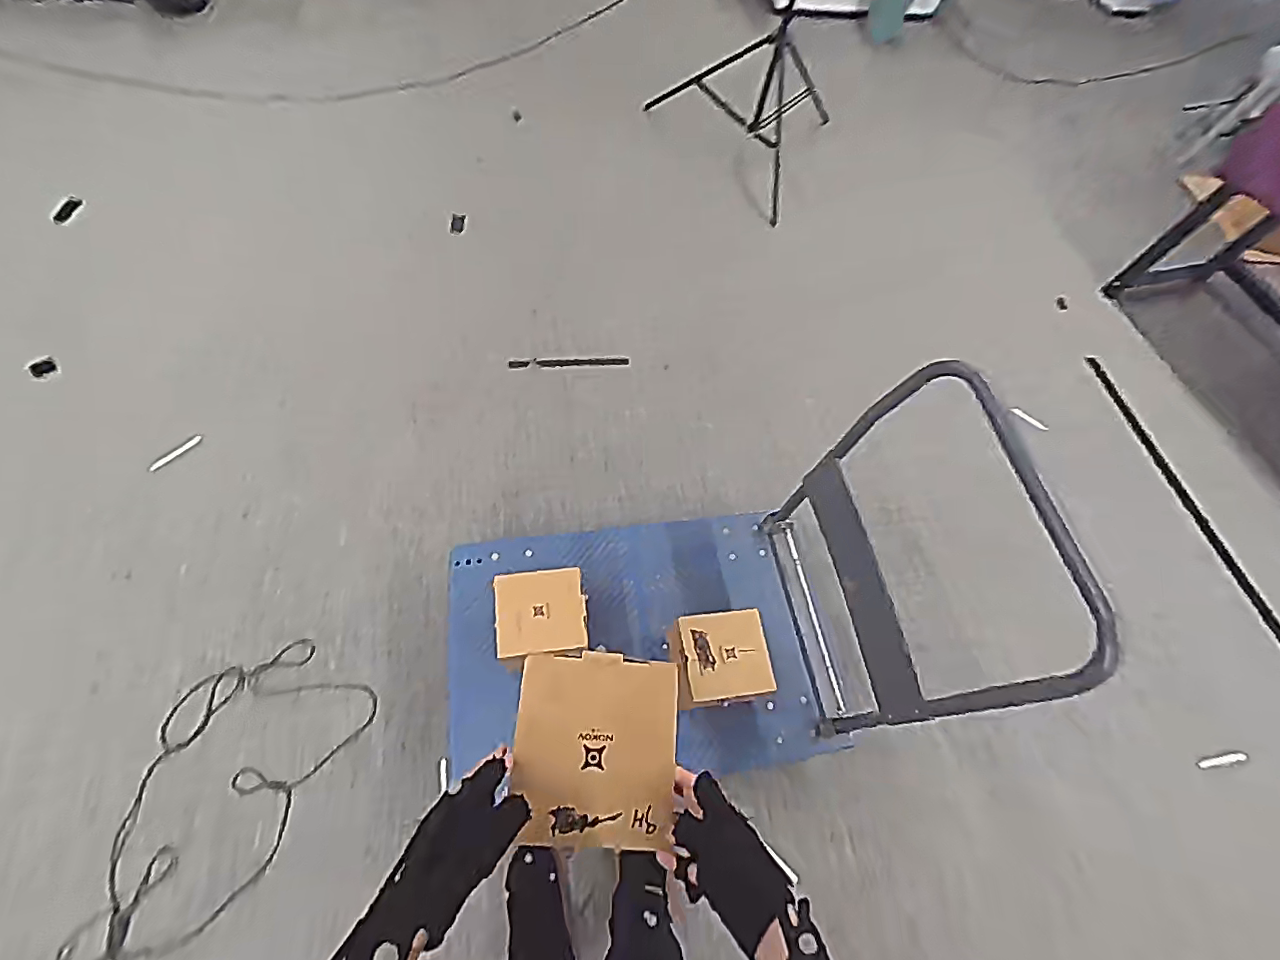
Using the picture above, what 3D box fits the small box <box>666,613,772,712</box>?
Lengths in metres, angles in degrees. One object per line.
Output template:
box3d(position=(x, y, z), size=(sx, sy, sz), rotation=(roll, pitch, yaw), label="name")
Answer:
box3d(position=(0.157, 0.393, 1.154), size=(0.179, 0.176, 0.168), rotation=(-3, 62, -10), label="small box")

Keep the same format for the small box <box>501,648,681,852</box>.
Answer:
box3d(position=(-0.053, 0.295, 0.617), size=(0.168, 0.176, 0.179), rotation=(7, 69, -4), label="small box")

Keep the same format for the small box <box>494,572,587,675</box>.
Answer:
box3d(position=(-0.211, 0.308, 1.150), size=(0.179, 0.176, 0.168), rotation=(-5, 62, -10), label="small box")
